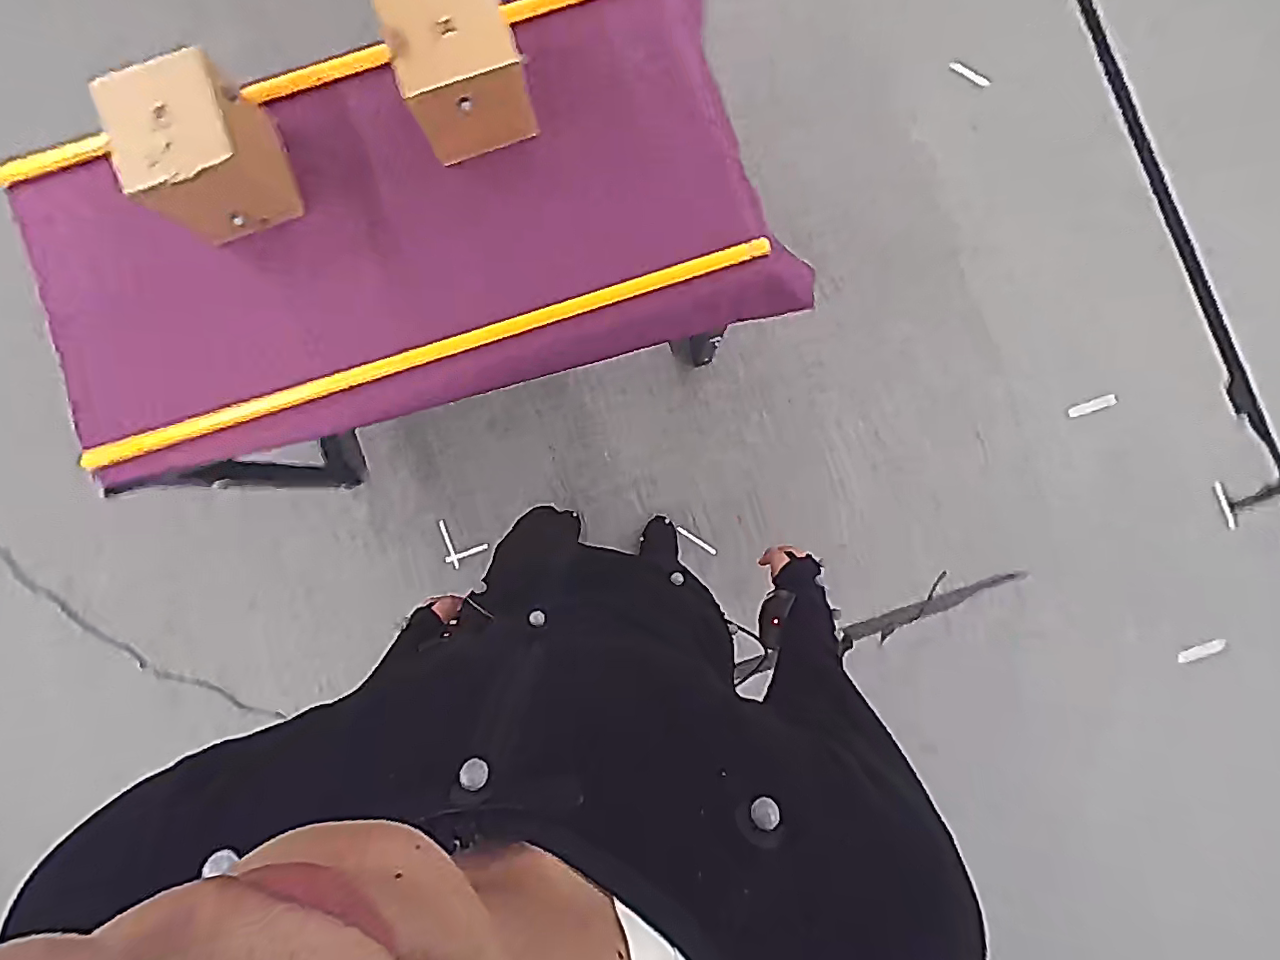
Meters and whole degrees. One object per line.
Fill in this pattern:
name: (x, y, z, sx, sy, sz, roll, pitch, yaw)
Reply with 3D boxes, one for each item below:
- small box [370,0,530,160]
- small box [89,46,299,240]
small box: (-0.285, -0.653, 0.856, 0.179, 0.176, 0.168, -19, 90, 1)
small box: (-0.686, -0.517, 0.854, 0.168, 0.176, 0.179, -19, 90, 0)
